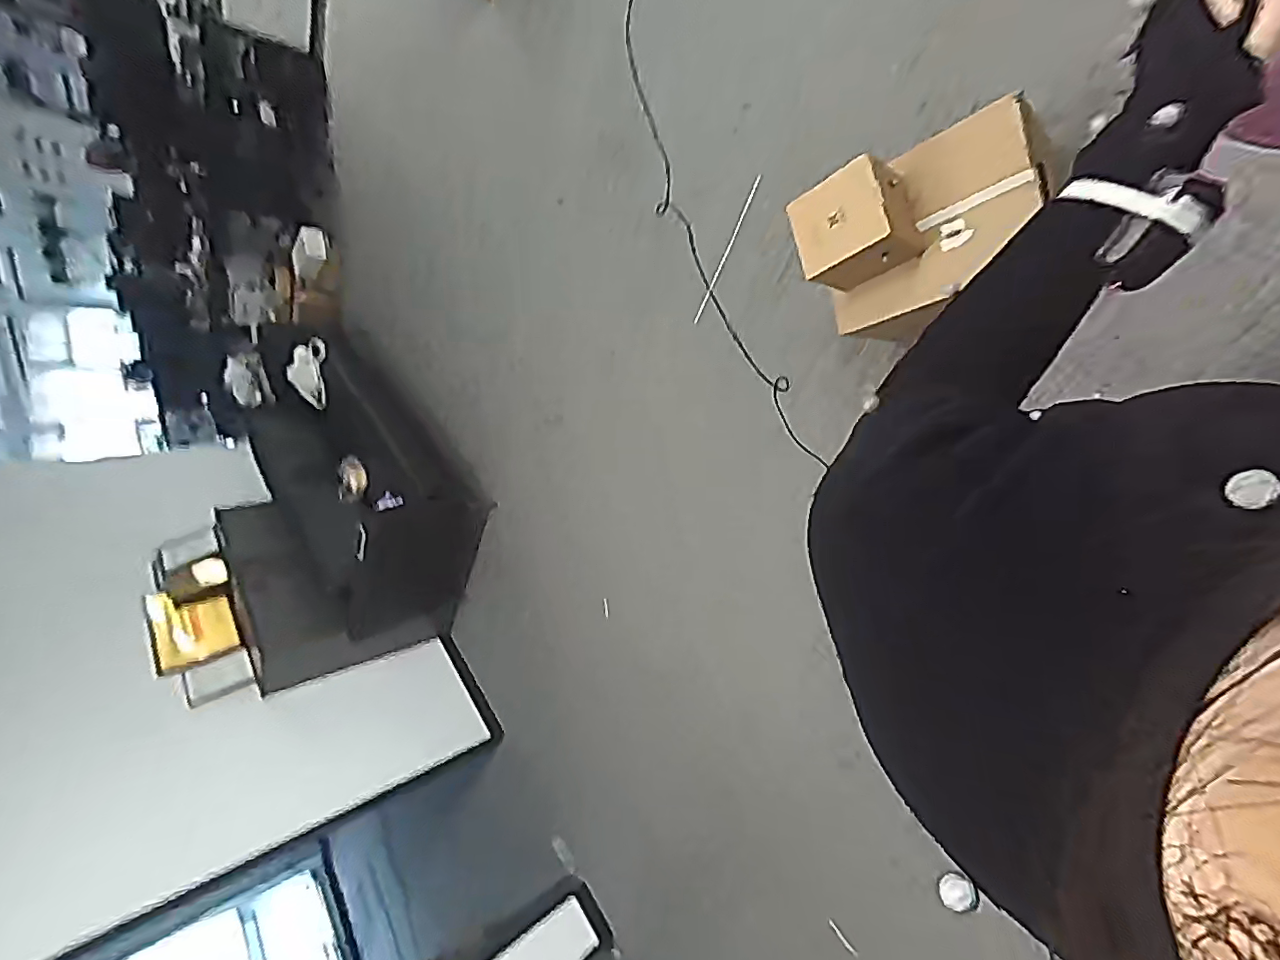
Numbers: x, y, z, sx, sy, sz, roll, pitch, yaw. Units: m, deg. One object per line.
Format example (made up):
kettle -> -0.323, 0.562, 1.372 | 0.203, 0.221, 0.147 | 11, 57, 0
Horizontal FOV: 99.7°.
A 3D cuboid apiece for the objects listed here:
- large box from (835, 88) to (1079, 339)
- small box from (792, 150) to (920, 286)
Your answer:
large box -> 0.677, -0.535, 1.200 | 0.408, 0.320, 0.320 | -12, 89, 46
small box -> 0.441, -0.515, 1.091 | 0.179, 0.176, 0.168 | -17, 83, 46
